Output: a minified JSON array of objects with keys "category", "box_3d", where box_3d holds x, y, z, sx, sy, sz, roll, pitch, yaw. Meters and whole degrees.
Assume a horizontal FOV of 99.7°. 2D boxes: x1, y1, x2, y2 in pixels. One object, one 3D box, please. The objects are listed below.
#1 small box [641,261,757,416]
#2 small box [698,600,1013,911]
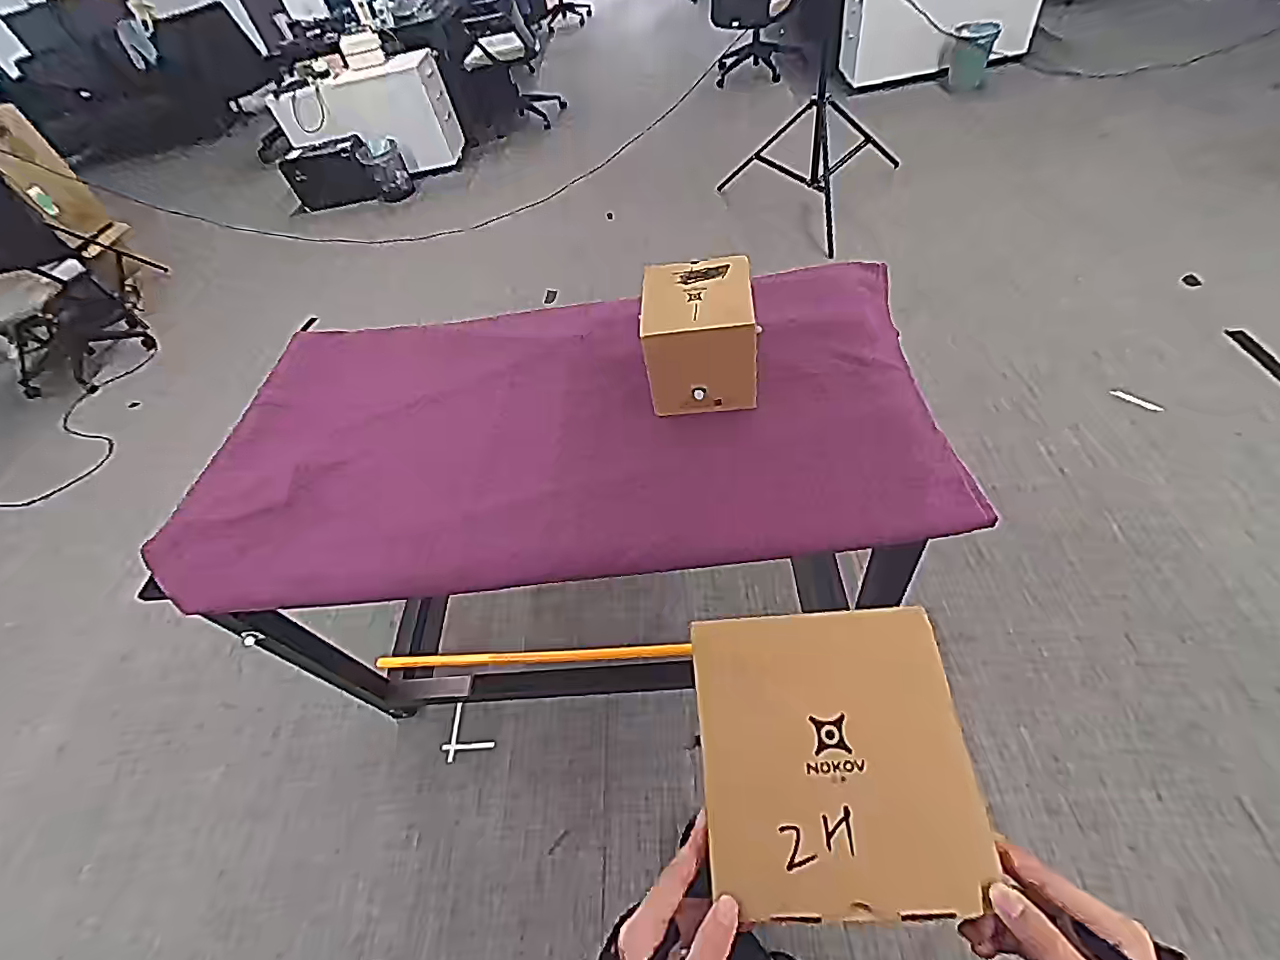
[{"category":"small box","box_3d":[0.099,-0.225,0.875,0.168,0.176,0.179,-4,52,10]},{"category":"small box","box_3d":[0.132,0.204,0.412,0.168,0.176,0.179,-5,61,6]}]
